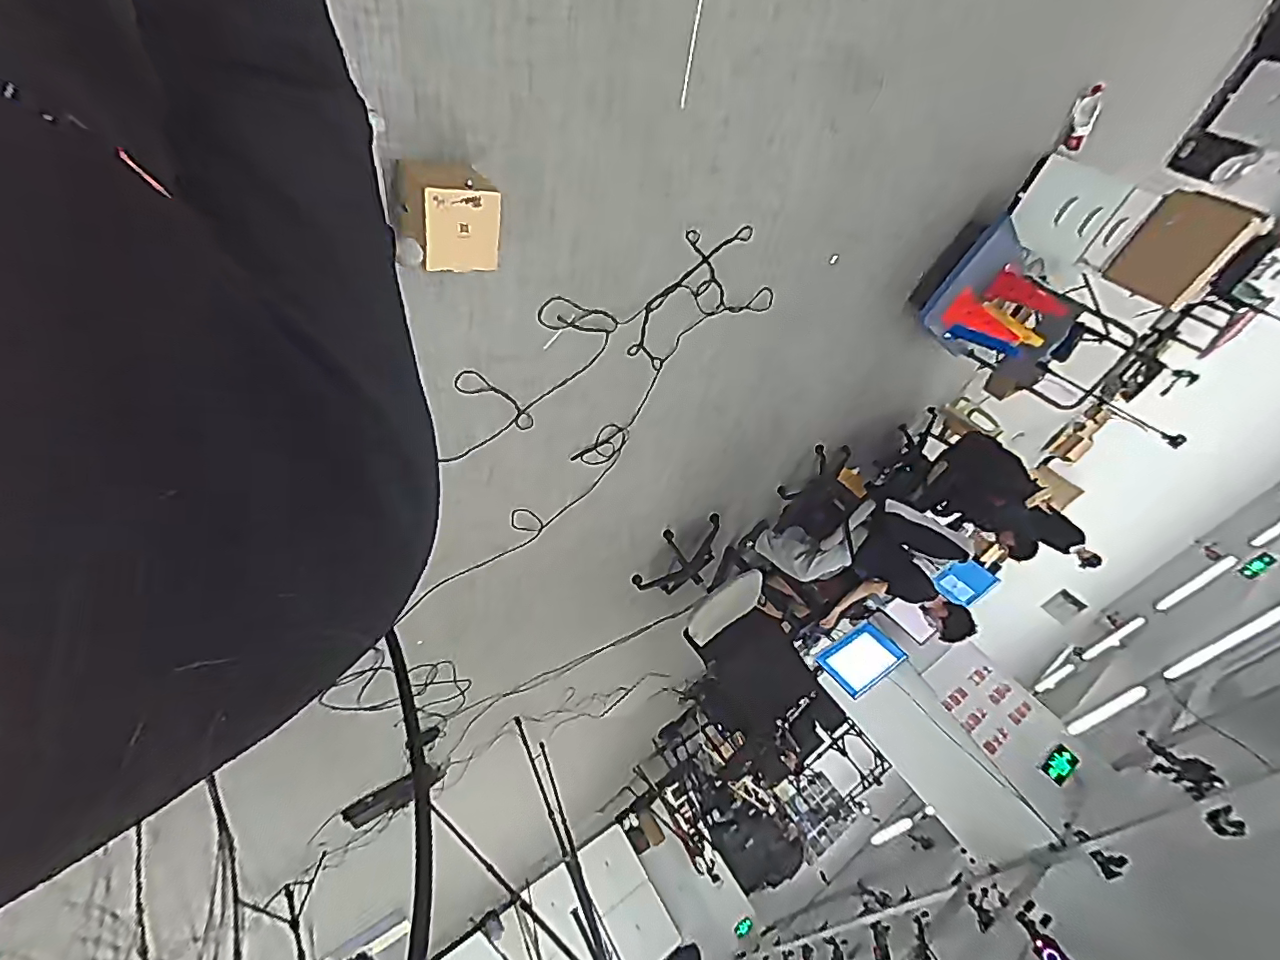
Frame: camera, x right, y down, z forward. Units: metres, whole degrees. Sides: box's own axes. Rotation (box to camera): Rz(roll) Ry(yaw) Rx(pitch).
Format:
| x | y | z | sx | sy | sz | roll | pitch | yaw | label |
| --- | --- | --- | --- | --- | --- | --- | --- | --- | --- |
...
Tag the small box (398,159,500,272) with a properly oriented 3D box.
| x | y | z | sx | sy | sz | roll | pitch | yaw | label |
| --- | --- | --- | --- | --- | --- | --- | --- | --- | --- |
| -0.430 | -0.588 | 1.210 | 0.168 | 0.176 | 0.179 | -16 | 141 | -34 | small box |
